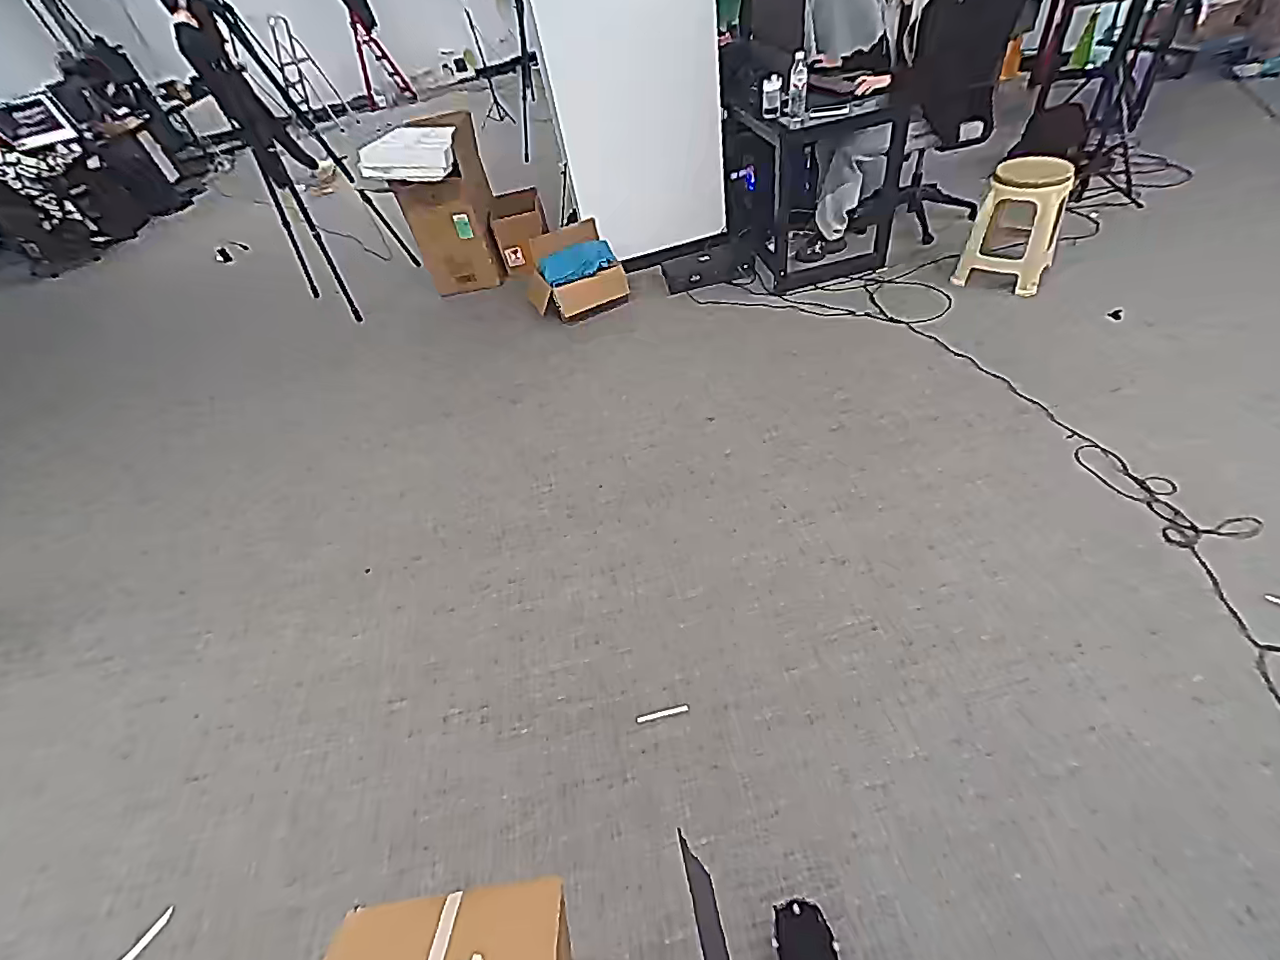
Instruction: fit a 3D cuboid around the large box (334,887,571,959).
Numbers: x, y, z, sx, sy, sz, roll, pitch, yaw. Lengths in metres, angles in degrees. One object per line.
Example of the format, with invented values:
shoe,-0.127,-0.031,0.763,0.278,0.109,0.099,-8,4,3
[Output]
large box,-0.236,0.789,0.617,0.320,0.320,0.408,-4,6,-3
